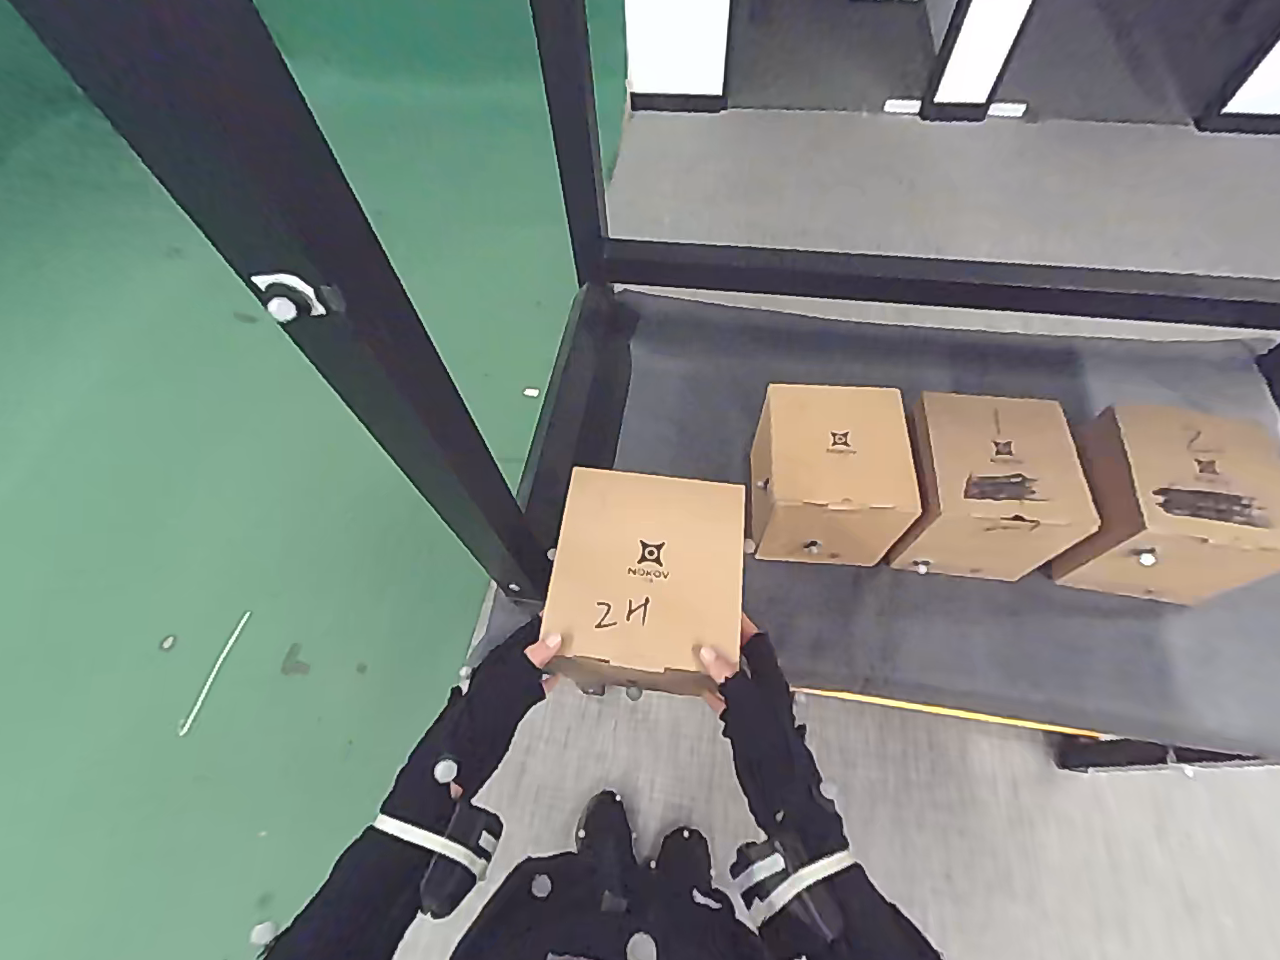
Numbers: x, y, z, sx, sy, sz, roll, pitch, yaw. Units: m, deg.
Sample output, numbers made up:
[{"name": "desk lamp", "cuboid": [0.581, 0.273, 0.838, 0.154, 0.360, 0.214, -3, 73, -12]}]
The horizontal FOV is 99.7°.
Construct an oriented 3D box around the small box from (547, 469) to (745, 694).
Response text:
[{"name": "small box", "cuboid": [0.011, 0.111, 0.561, 0.168, 0.176, 0.179, 6, 62, 4]}]
